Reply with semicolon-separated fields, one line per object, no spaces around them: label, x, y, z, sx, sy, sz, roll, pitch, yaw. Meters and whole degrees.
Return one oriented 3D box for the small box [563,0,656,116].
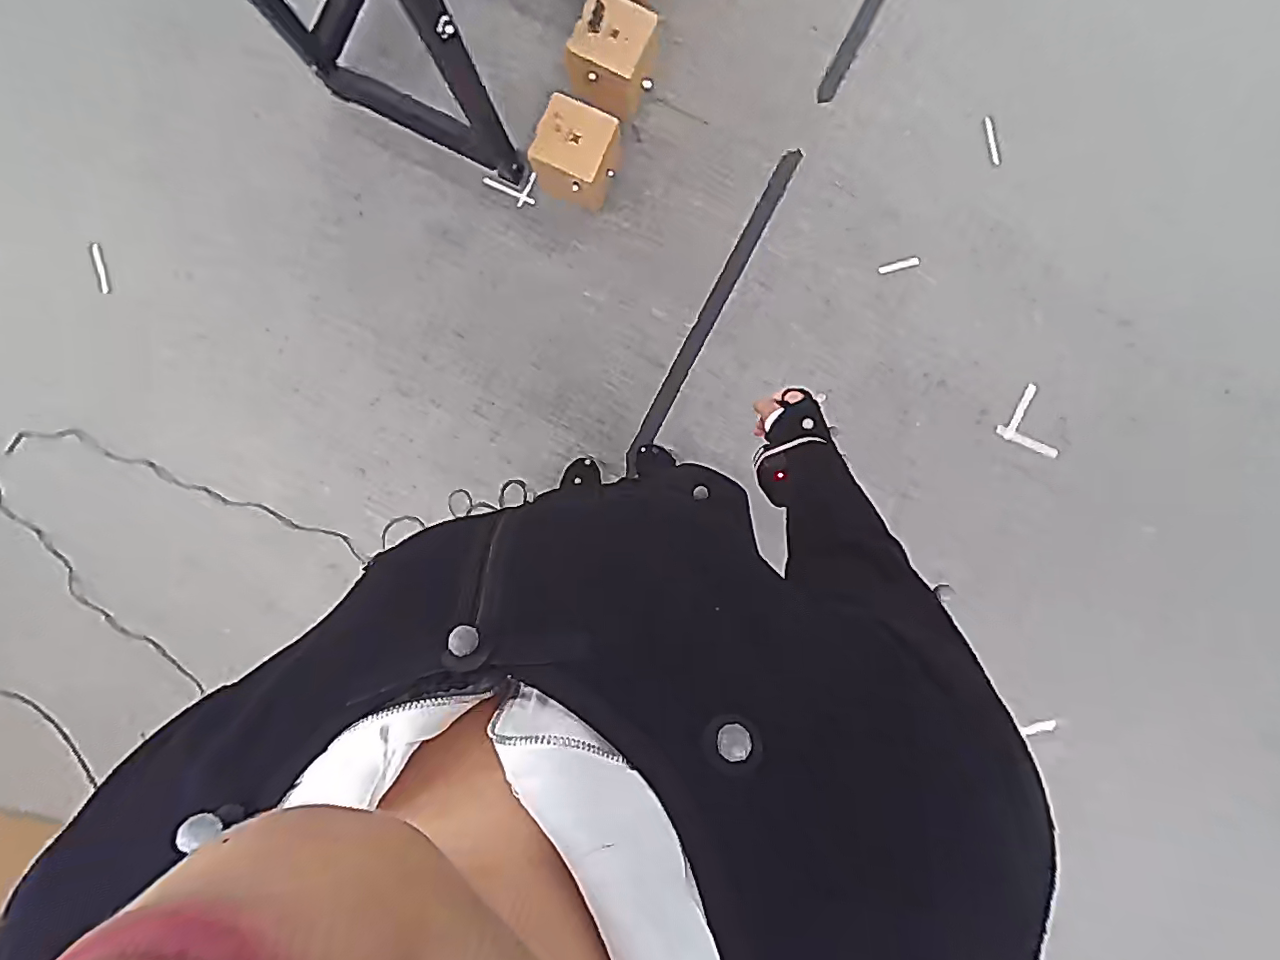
small box;-0.071;-1.076;1.373;0.179;0.176;0.168;26;94;0
